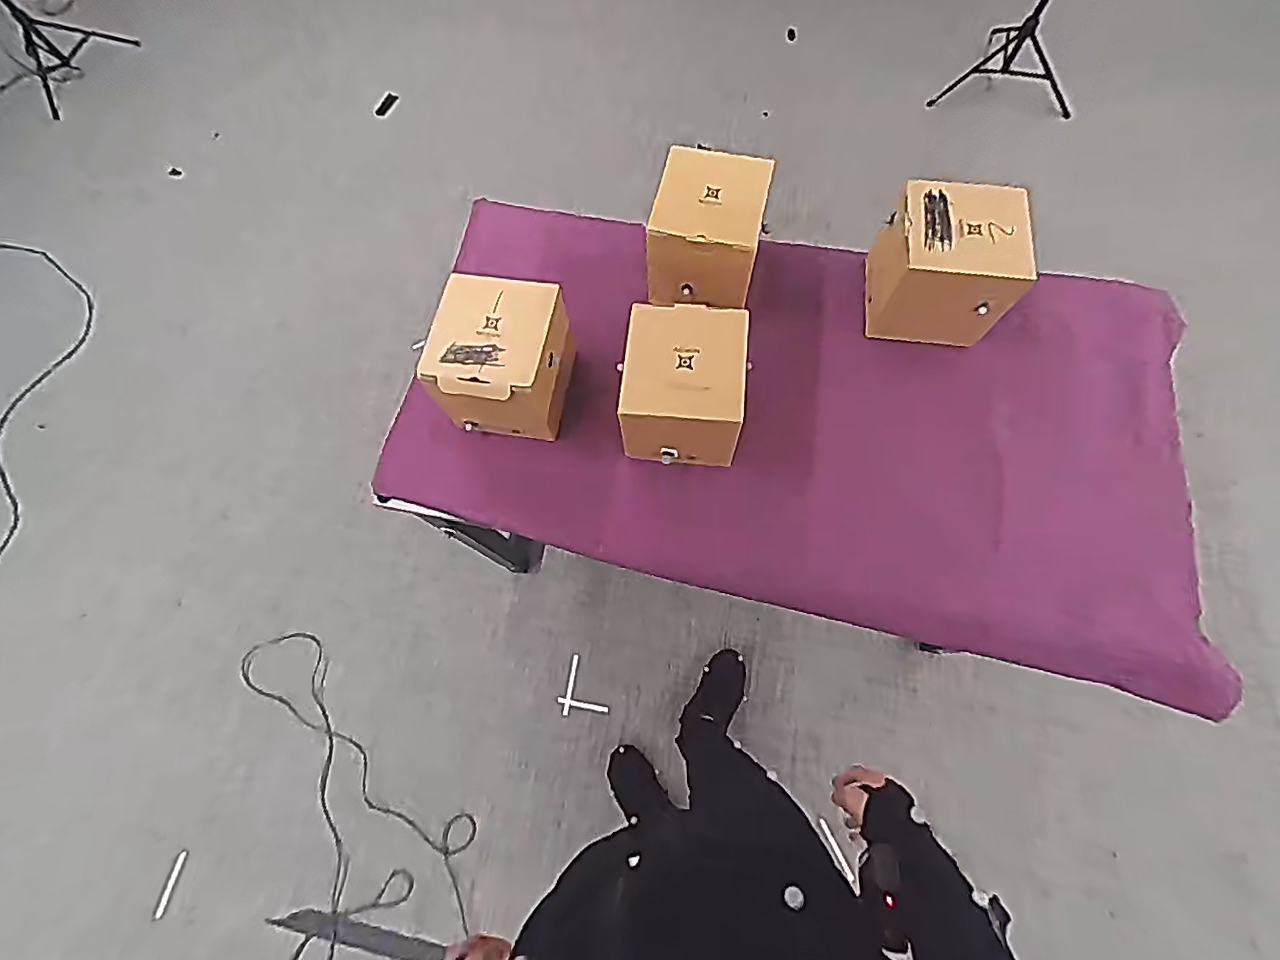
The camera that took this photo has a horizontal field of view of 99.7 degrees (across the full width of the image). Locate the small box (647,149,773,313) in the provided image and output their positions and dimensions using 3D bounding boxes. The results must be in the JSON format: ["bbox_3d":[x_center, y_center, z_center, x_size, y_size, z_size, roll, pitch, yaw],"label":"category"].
[{"bbox_3d":[0.109,-0.396,0.889,0.168,0.176,0.179,12,72,6],"label":"small box"}]

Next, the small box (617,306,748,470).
[{"bbox_3d":[0.063,-0.130,0.803,0.168,0.176,0.179,5,71,5],"label":"small box"}]

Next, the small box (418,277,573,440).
[{"bbox_3d":[-0.206,-0.177,0.829,0.168,0.176,0.179,8,70,5],"label":"small box"}]
